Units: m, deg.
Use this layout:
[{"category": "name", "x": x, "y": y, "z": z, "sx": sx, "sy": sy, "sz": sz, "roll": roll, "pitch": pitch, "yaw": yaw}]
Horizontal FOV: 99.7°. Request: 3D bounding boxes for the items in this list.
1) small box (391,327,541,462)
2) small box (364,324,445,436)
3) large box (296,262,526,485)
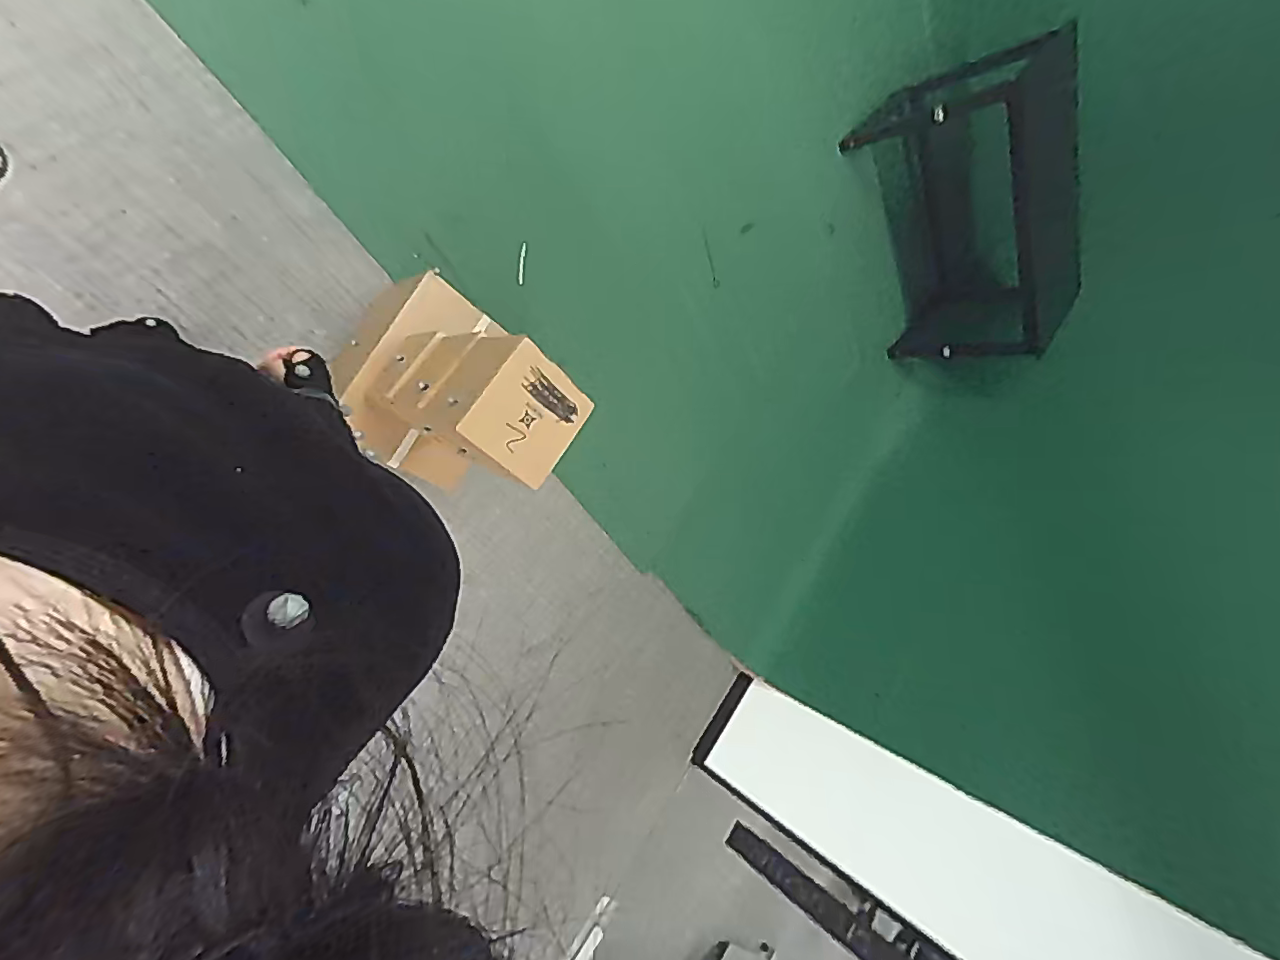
[{"category": "small box", "x": -0.323, "y": -0.160, "z": 0.994, "sx": 0.168, "sy": 0.176, "sz": 0.179, "roll": 46, "pitch": 71, "yaw": -38}, {"category": "small box", "x": -0.430, "y": -0.195, "z": 1.111, "sx": 0.179, "sy": 0.176, "sz": 0.168, "roll": 44, "pitch": 71, "yaw": -38}, {"category": "large box", "x": -0.558, "y": -0.250, "z": 1.320, "sx": 0.320, "sy": 0.320, "sz": 0.408, "roll": 38, "pitch": 75, "yaw": -41}]
